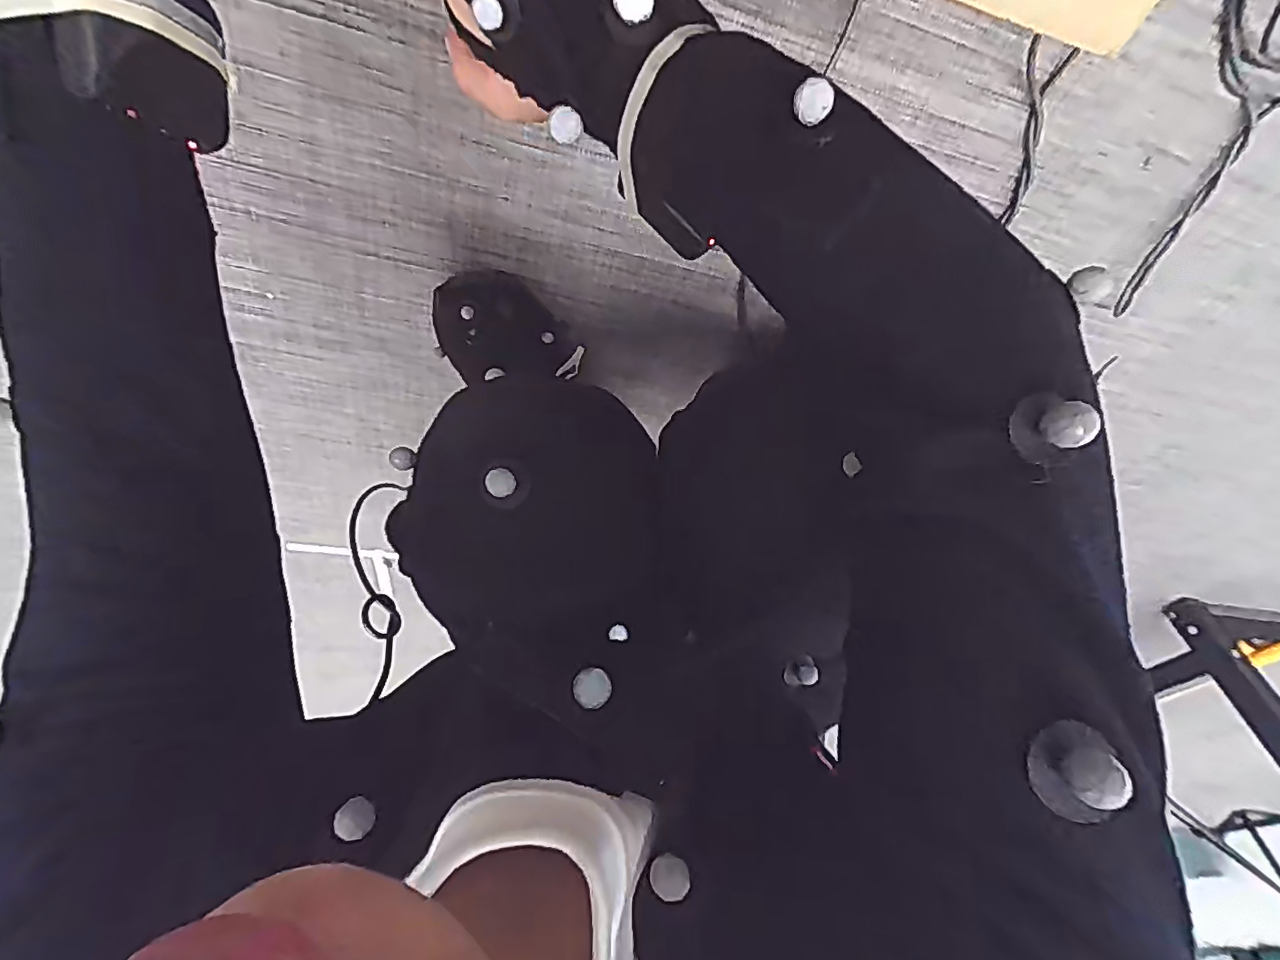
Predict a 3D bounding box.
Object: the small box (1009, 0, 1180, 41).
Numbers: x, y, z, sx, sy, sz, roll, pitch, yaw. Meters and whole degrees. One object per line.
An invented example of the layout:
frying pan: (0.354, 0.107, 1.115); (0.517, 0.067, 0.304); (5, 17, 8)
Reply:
small box: (0.065, -0.236, 0.116); (0.179, 0.176, 0.168); (9, 138, -13)
